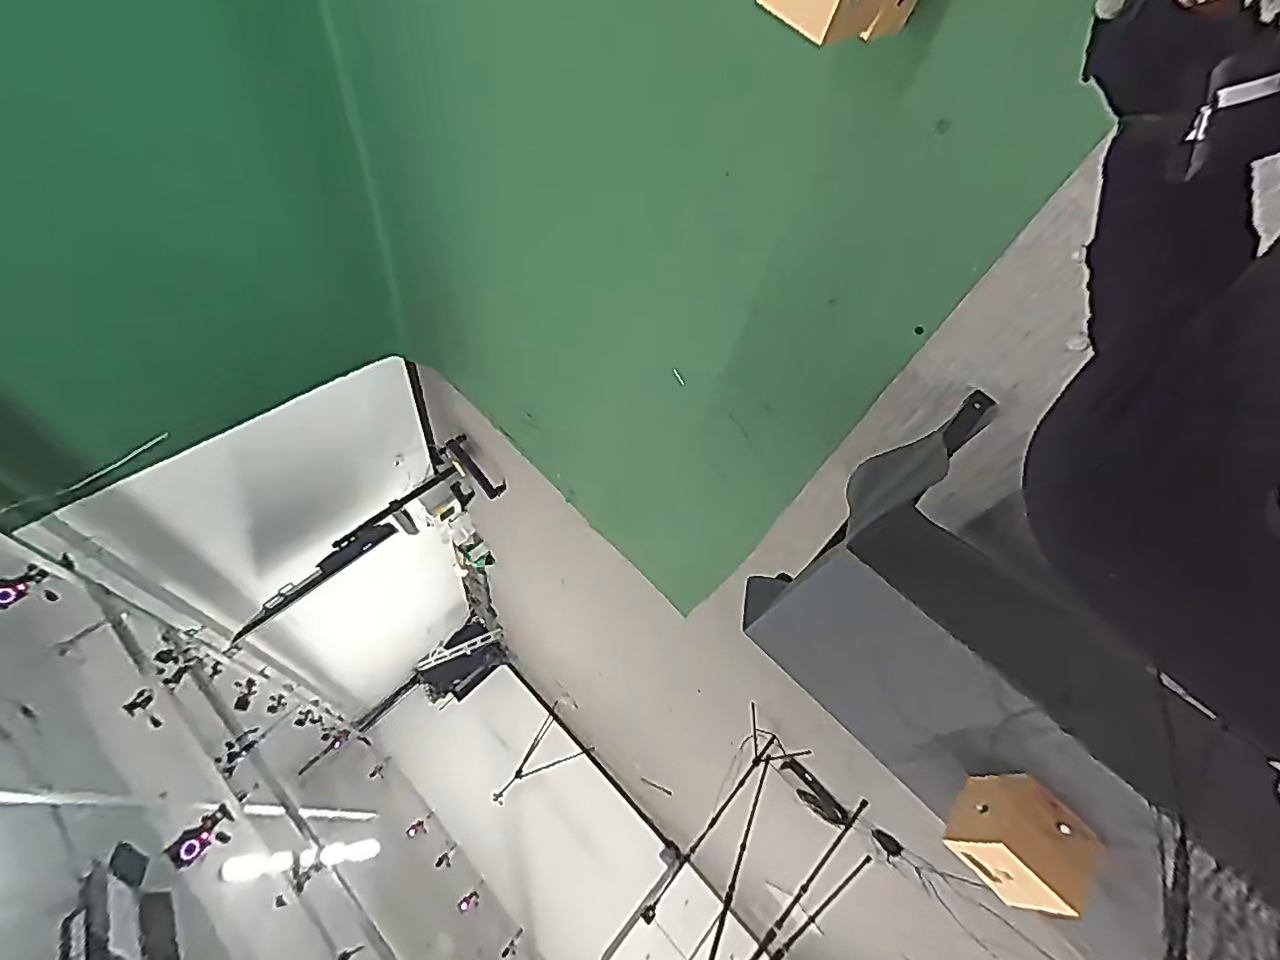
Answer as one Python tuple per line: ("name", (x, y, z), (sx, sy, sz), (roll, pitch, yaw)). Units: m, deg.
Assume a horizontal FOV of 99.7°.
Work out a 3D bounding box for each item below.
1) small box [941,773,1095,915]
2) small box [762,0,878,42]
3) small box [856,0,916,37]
("small box", (0.767, 0.726, 1.099), (0.168, 0.176, 0.179), (43, 149, 14))
("small box", (0.354, -0.945, 0.977), (0.168, 0.176, 0.179), (45, 150, 11))
("small box", (0.471, -1.024, 1.063), (0.179, 0.176, 0.168), (46, 150, 11))
